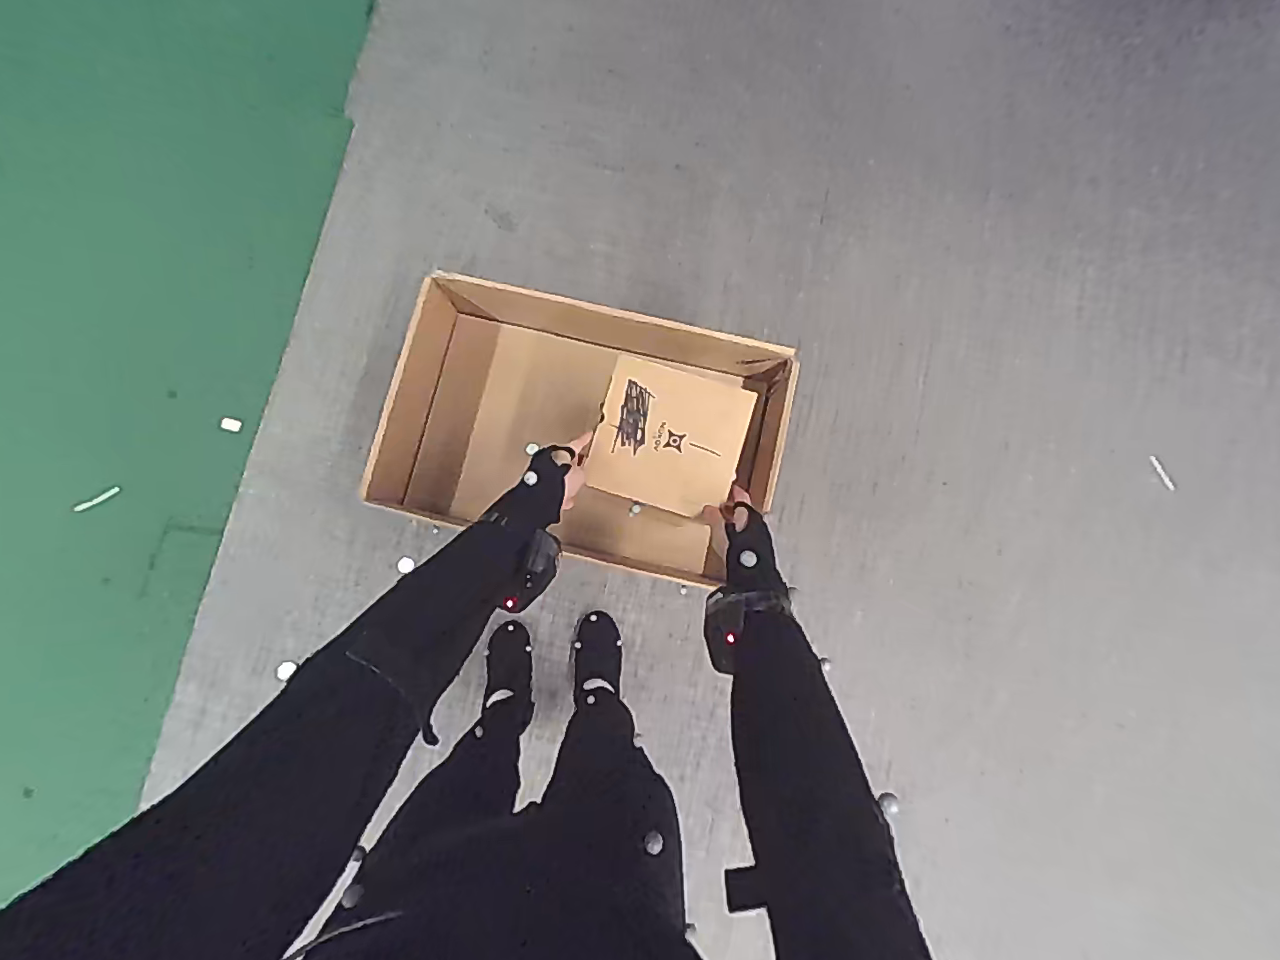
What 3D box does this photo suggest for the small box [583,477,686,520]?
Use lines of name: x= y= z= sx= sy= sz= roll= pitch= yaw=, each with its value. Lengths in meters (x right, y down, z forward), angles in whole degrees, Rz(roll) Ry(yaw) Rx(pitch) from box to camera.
small box: x=0.020 y=-0.040 z=0.879 sx=0.168 sy=0.176 sz=0.179 roll=18 pitch=83 yaw=2

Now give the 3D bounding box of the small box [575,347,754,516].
small box: x=0.031 y=-0.051 z=0.713 sx=0.179 sy=0.176 sz=0.168 roll=17 pitch=86 yaw=2
